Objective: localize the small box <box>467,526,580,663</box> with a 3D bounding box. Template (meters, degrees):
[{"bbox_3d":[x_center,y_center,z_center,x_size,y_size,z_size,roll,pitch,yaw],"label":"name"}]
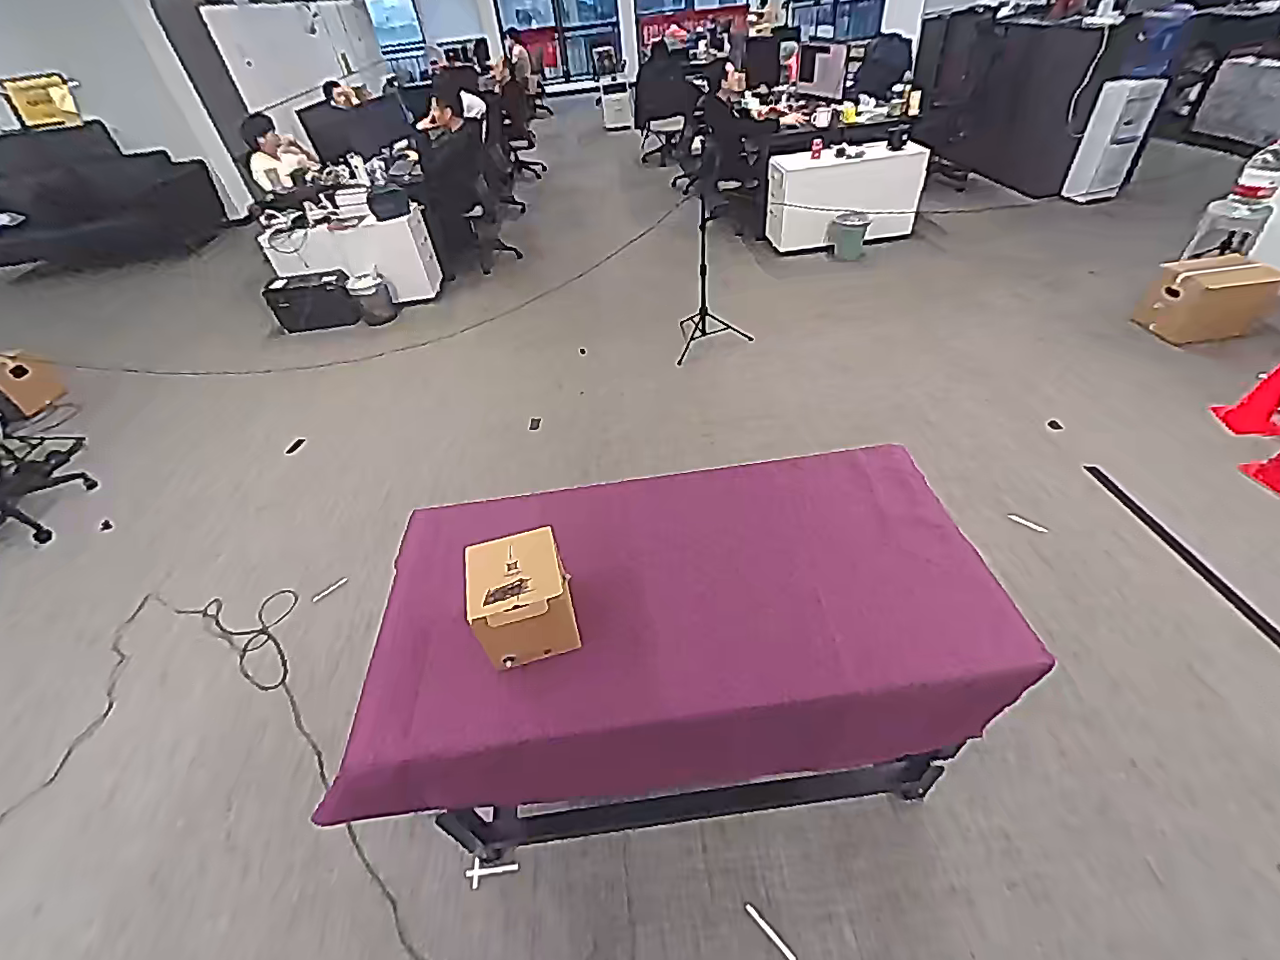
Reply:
[{"bbox_3d":[-0.216,0.219,1.011,0.168,0.176,0.179,-14,42,-8],"label":"small box"}]
